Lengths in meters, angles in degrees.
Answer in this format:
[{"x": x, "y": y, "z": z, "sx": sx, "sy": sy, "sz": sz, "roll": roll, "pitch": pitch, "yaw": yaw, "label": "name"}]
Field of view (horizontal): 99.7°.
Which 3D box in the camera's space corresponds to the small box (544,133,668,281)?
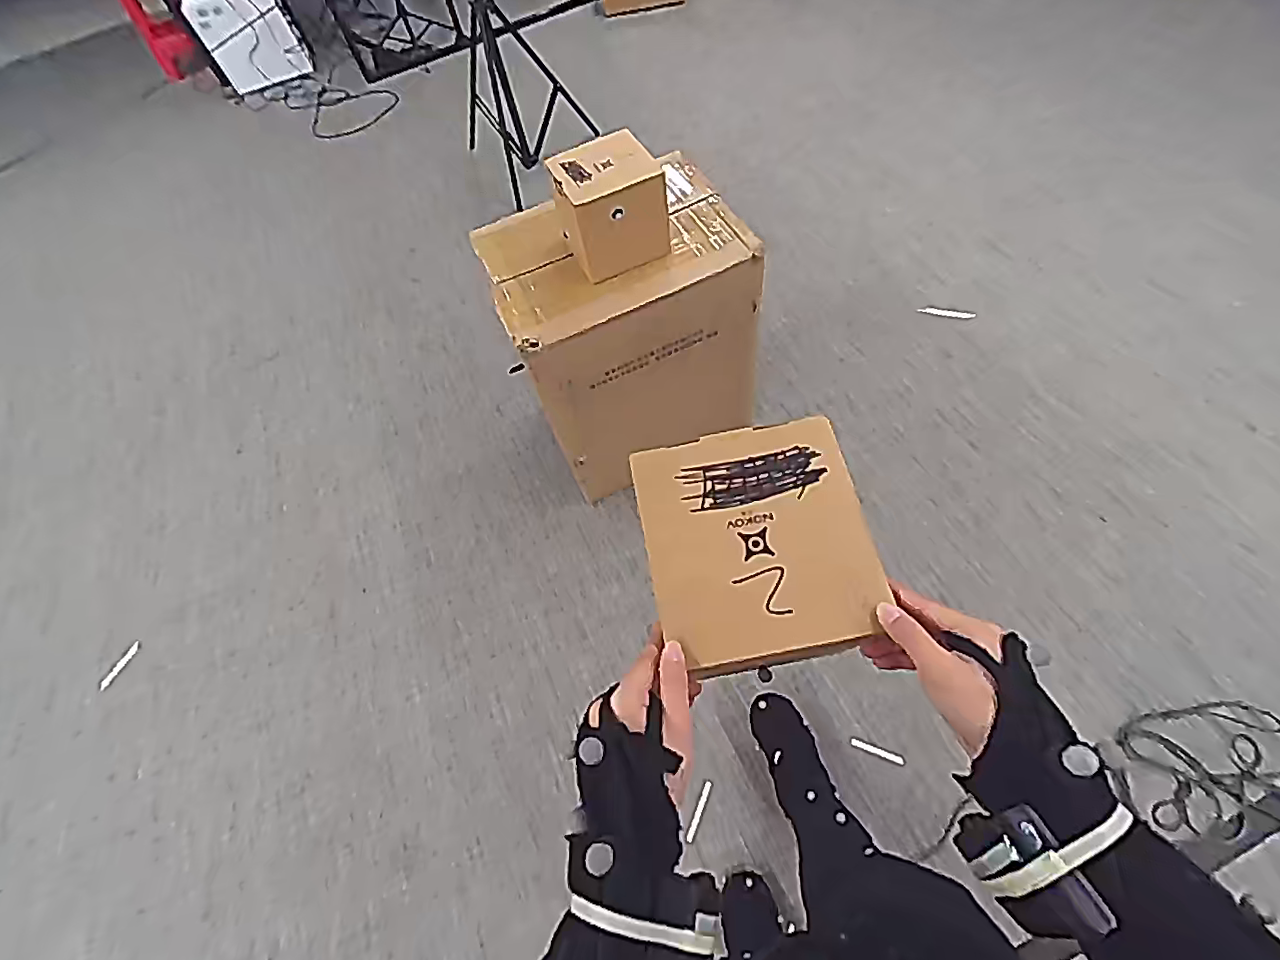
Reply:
[{"x": -0.060, "y": -0.516, "z": 1.037, "sx": 0.179, "sy": 0.176, "sz": 0.168, "roll": -24, "pitch": 61, "yaw": -6, "label": "small box"}]
